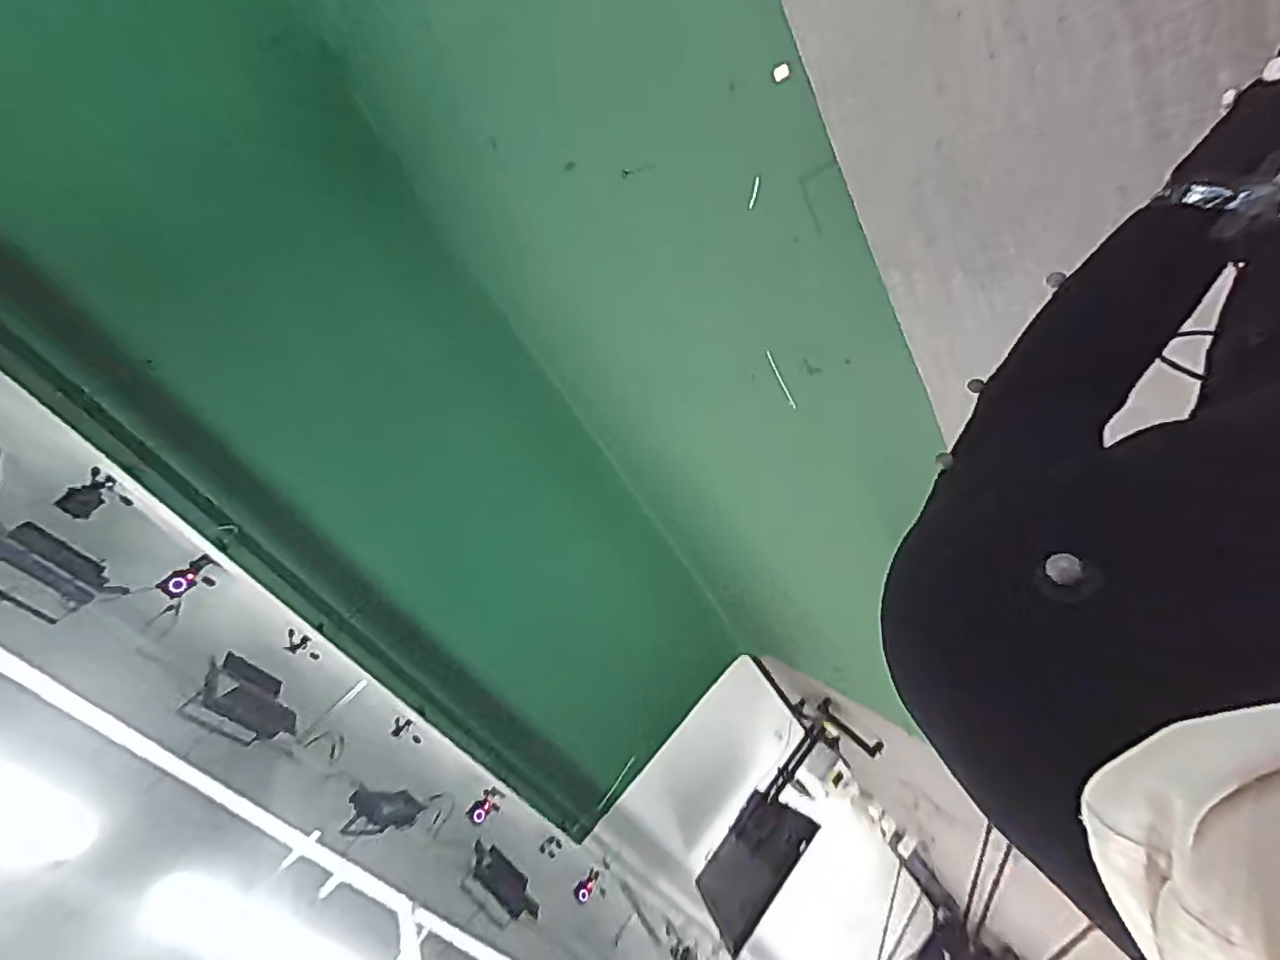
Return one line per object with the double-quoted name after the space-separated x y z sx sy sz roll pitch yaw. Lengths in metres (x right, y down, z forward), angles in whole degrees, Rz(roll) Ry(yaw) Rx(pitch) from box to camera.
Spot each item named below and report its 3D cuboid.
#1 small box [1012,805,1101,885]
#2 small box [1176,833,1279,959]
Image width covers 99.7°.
1.270 1.070 1.647 0.168 0.176 0.179 18 148 54 "small box"
1.340 0.924 1.197 0.179 0.176 0.168 19 149 52 "small box"
